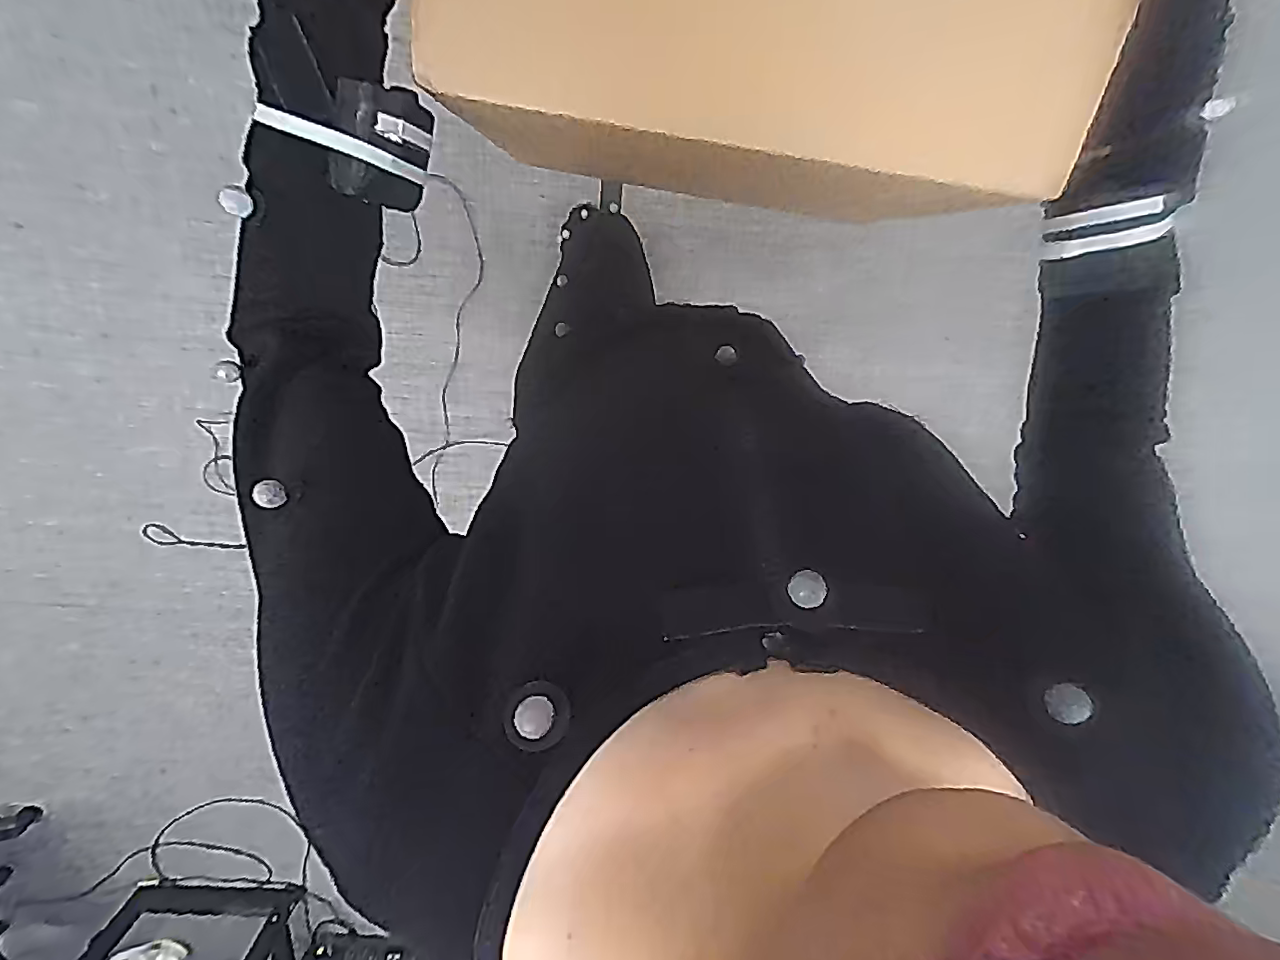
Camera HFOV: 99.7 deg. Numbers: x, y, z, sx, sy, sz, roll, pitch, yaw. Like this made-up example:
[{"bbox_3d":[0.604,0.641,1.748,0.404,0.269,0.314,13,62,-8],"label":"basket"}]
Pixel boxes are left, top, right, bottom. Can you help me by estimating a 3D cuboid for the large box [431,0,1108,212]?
[{"bbox_3d":[0.084,-0.416,0.423,0.408,0.320,0.320,7,113,-4],"label":"large box"}]
